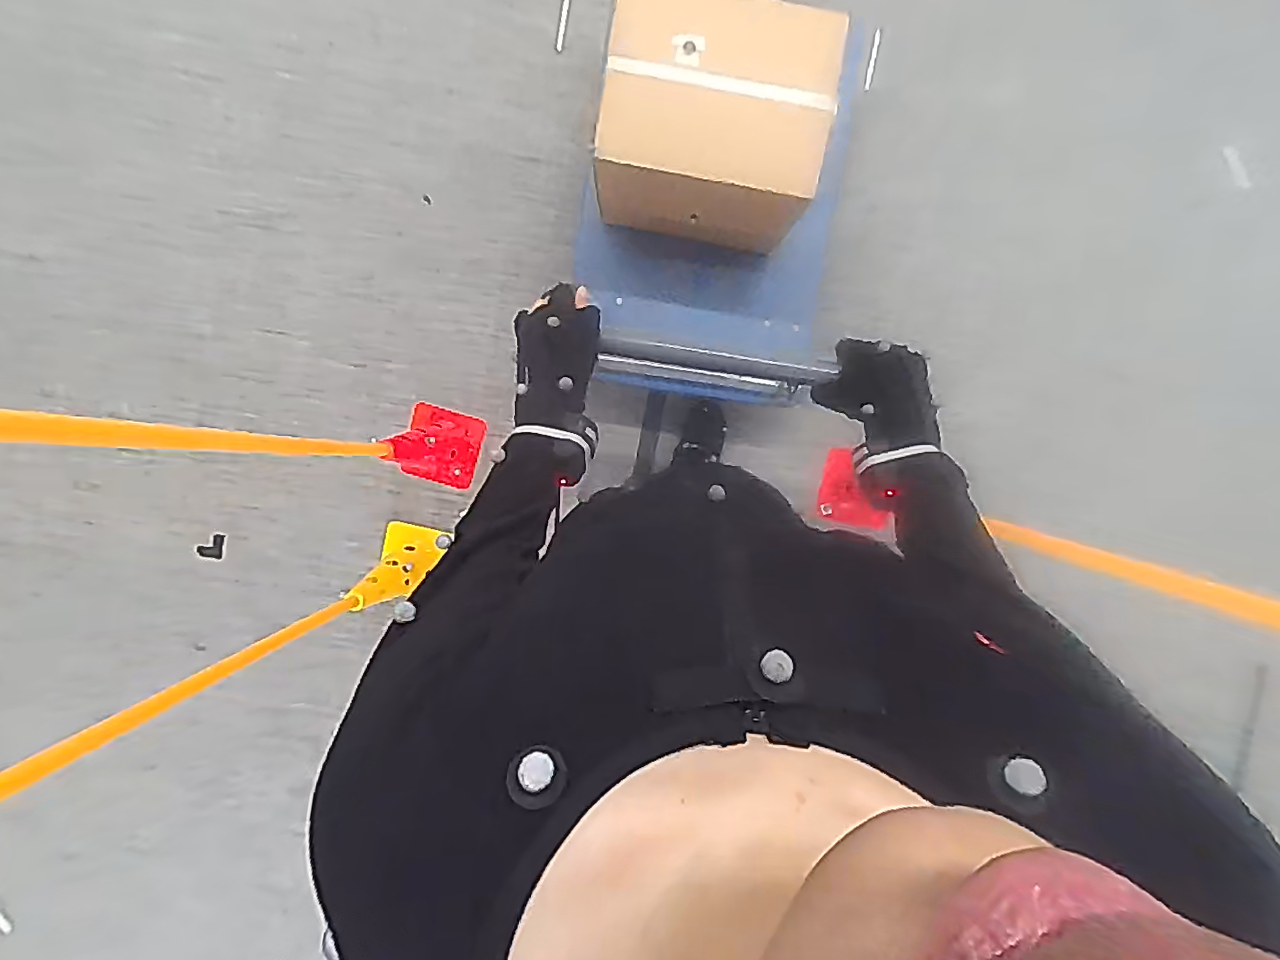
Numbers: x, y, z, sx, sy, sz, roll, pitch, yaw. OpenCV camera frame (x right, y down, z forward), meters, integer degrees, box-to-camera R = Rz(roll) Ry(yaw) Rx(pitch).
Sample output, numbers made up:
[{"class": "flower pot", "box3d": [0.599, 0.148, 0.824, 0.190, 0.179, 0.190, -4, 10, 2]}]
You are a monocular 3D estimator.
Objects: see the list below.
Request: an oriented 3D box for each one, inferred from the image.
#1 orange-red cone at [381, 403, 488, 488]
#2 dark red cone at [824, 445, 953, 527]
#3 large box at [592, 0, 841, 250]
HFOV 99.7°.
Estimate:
[{"class": "orange-red cone", "box3d": [-0.524, -0.082, 1.291, 0.198, 0.360, 0.199, 17, 93, -2]}, {"class": "dark red cone", "box3d": [0.605, 0.028, 1.281, 0.201, 0.394, 0.202, 10, 95, -3]}, {"class": "large box", "box3d": [0.136, -0.695, 1.099, 0.408, 0.320, 0.320, 10, 95, -1]}]
